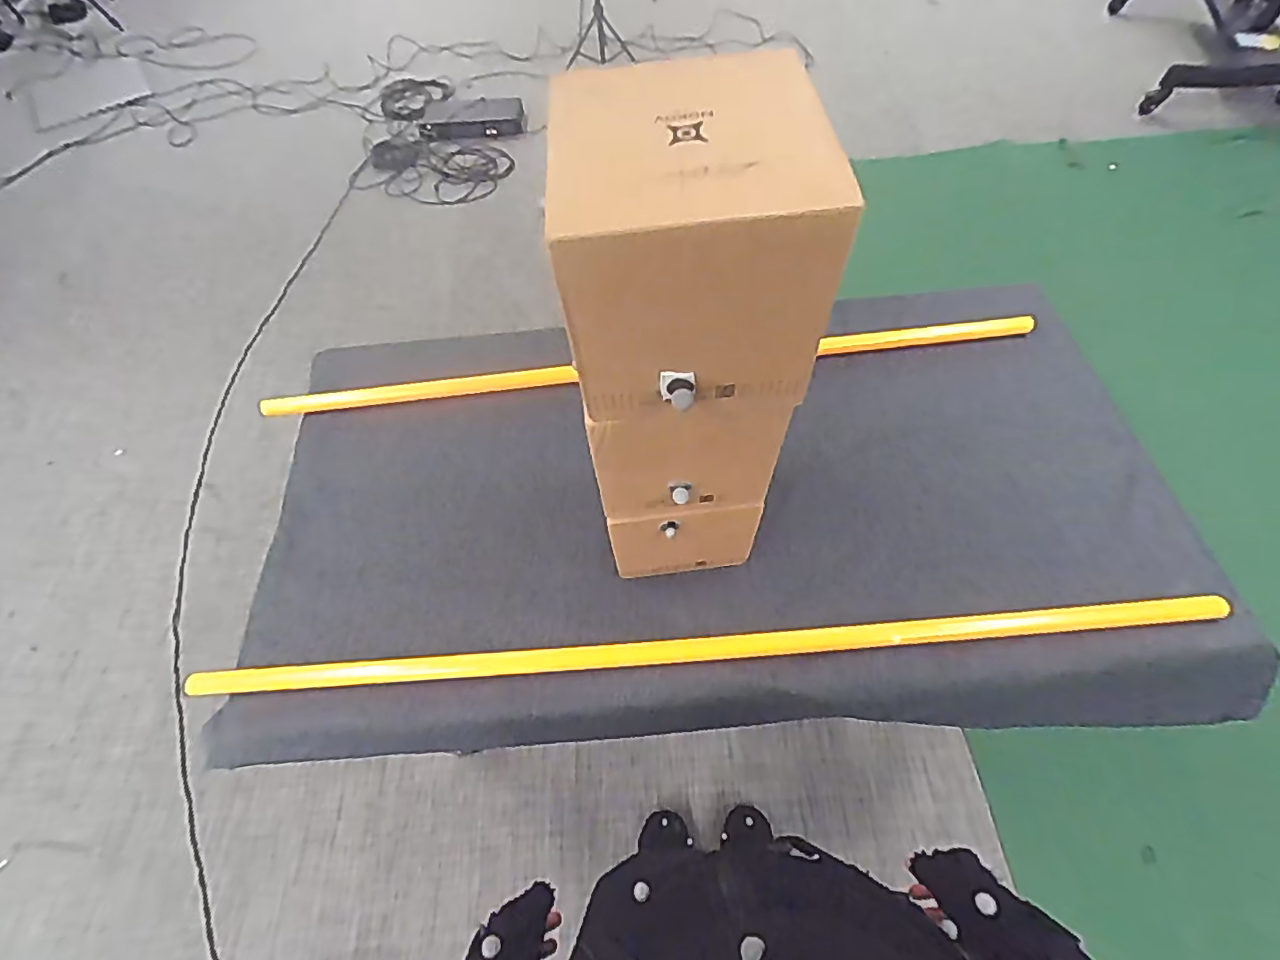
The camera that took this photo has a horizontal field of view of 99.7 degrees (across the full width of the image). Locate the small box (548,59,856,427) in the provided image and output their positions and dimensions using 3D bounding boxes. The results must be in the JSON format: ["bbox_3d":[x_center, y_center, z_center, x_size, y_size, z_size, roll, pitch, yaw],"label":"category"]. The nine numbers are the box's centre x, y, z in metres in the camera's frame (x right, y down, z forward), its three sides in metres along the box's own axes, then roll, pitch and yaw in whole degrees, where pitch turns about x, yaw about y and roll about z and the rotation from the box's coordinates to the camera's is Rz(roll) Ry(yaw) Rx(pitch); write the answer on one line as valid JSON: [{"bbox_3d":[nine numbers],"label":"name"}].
[{"bbox_3d":[0.032,-0.162,0.394,0.168,0.176,0.179,-6,61,2],"label":"small box"}]

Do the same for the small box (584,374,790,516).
[{"bbox_3d":[0.035,-0.082,0.535,0.168,0.176,0.179,-6,60,1],"label":"small box"}]

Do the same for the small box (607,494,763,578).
[{"bbox_3d":[0.044,0.004,0.674,0.168,0.176,0.179,-8,59,0],"label":"small box"}]
